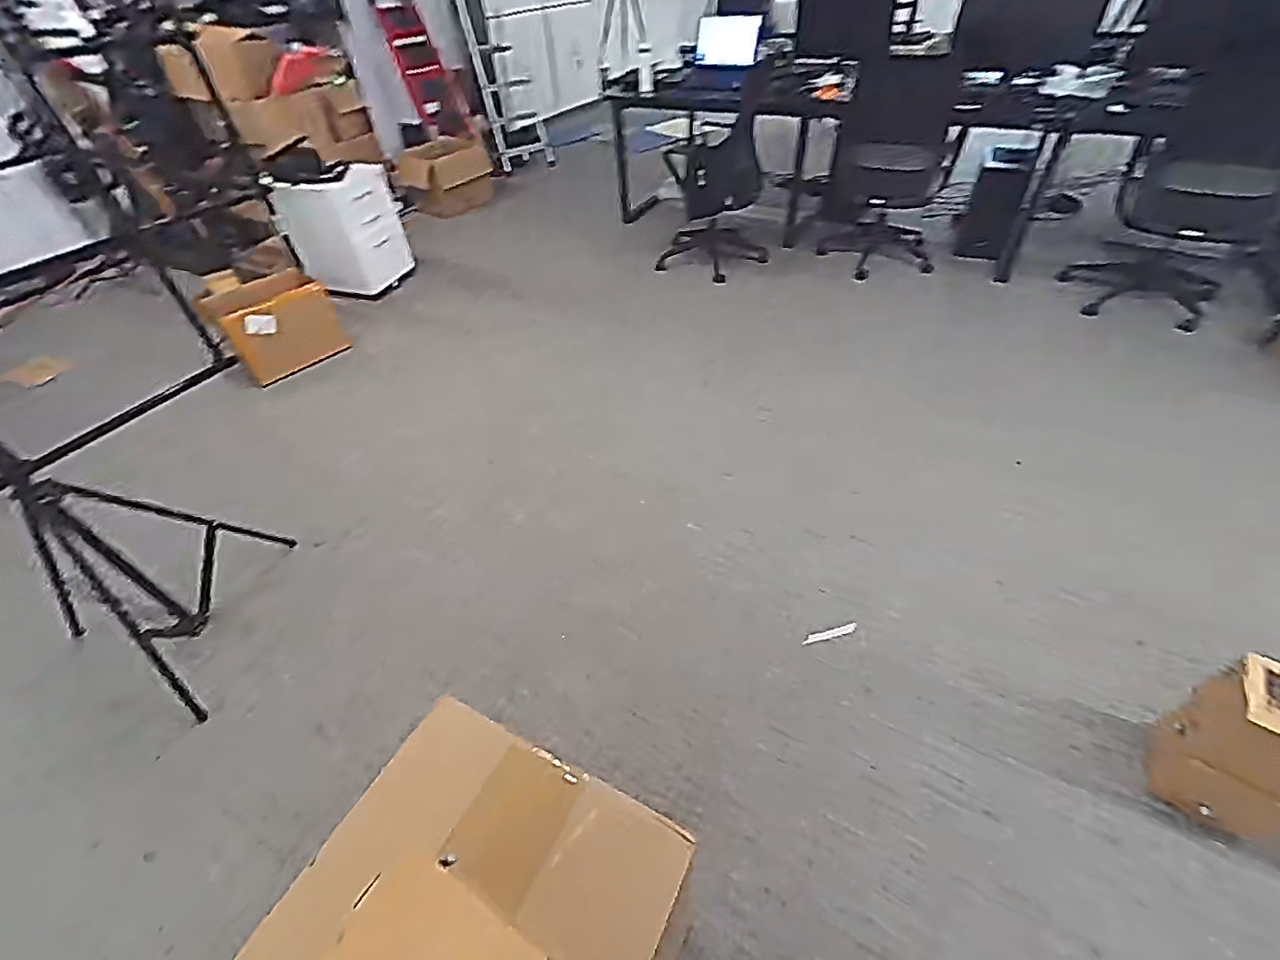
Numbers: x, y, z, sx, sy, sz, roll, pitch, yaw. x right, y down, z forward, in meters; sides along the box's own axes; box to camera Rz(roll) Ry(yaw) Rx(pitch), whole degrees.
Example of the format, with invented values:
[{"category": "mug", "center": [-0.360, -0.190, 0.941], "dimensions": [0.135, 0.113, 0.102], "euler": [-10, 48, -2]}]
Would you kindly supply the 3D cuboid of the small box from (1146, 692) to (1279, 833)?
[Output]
[{"category": "small box", "center": [1.214, 0.593, 1.137], "dimensions": [0.168, 0.176, 0.179], "euler": [24, 52, 28]}]
